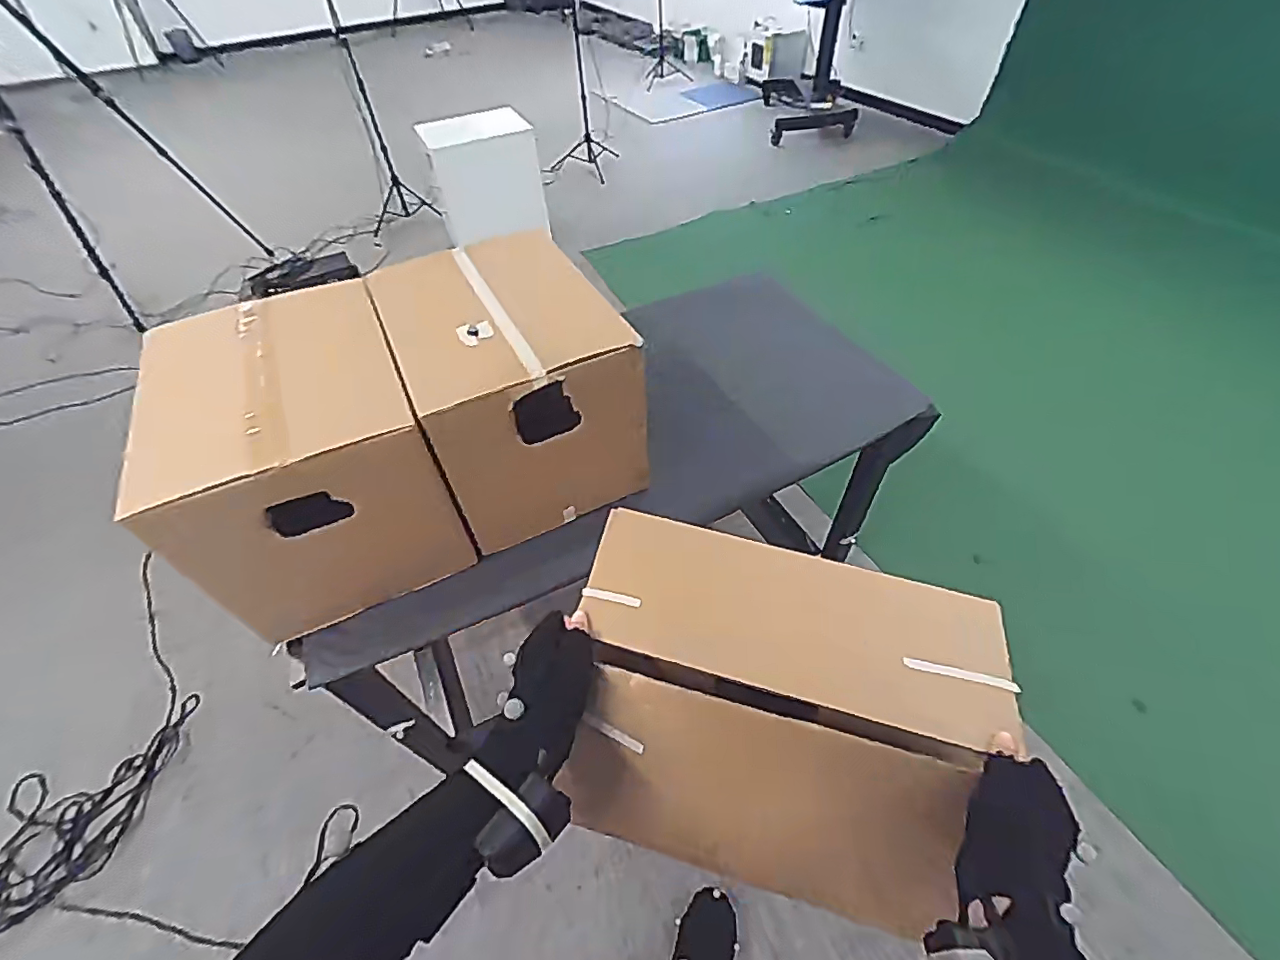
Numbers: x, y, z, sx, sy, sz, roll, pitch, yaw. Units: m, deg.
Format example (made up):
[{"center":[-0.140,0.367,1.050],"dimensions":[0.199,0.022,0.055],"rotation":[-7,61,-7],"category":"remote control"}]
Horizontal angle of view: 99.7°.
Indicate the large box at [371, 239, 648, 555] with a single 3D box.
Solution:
[{"center":[-0.213,-0.154,0.933],"dimensions":[0.320,0.320,0.408],"rotation":[-24,53,-16],"category":"large box"}]
